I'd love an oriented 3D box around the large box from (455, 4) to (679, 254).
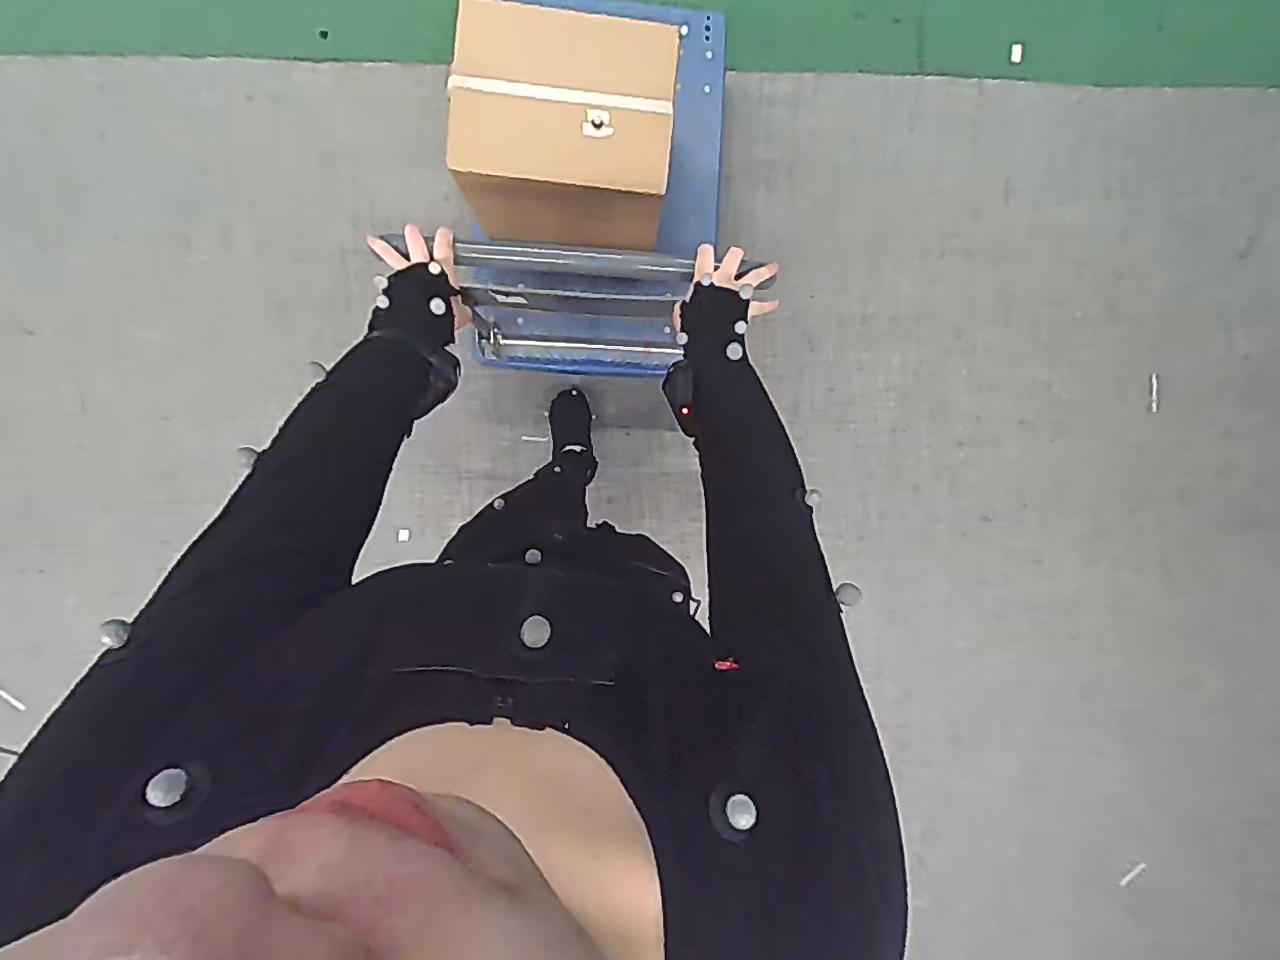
[{"bbox_3d":[-0.147,-0.712,1.155,0.408,0.320,0.320,5,91,-4],"label":"large box"}]
